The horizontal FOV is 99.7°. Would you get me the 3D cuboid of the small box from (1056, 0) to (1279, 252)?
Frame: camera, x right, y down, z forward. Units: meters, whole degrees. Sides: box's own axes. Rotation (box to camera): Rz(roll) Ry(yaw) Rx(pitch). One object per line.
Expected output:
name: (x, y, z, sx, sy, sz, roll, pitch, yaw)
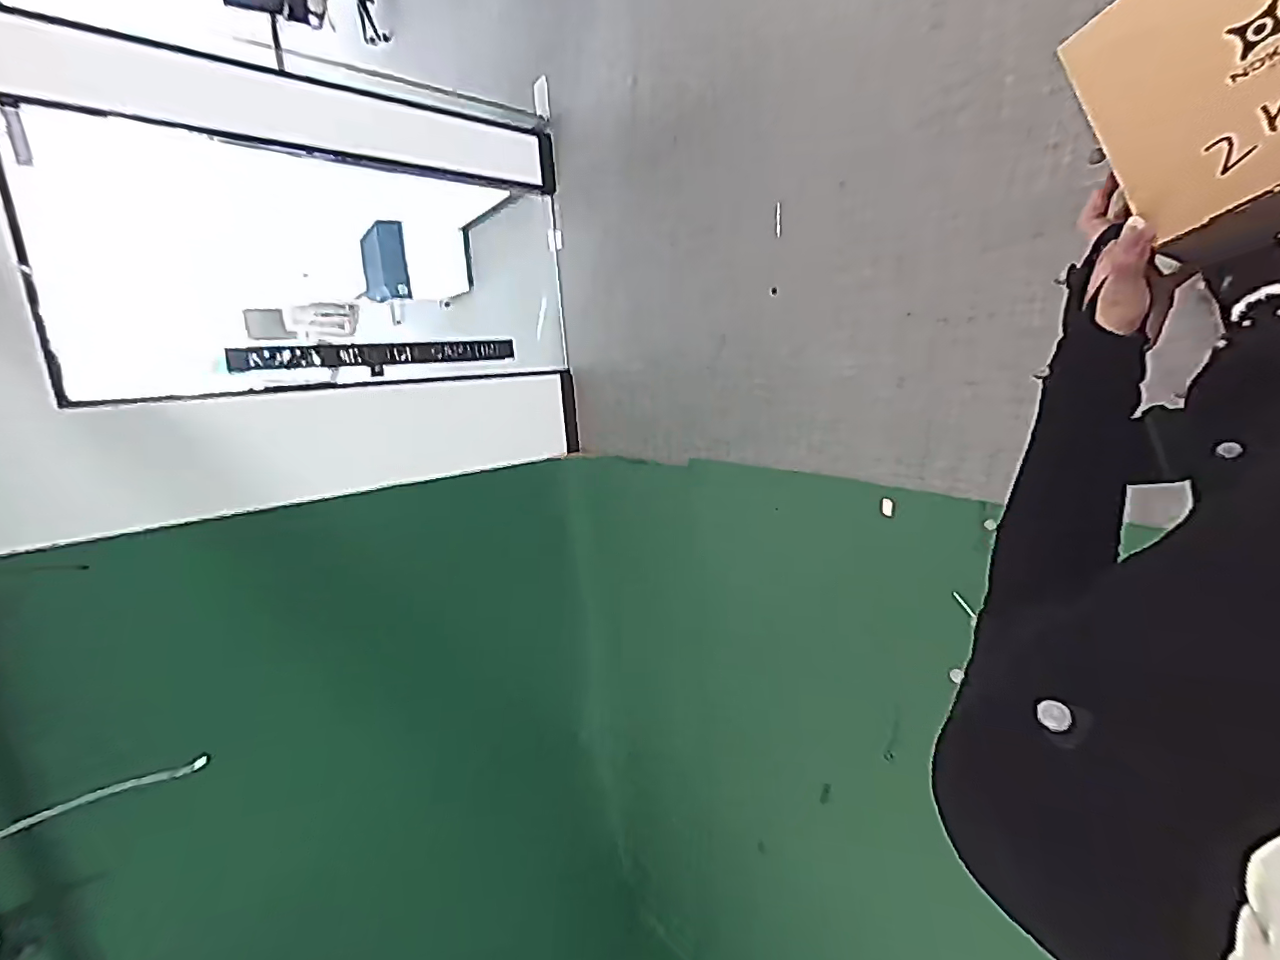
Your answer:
small box: (0.450, -0.291, 0.390, 0.168, 0.176, 0.179, -26, 78, 54)
